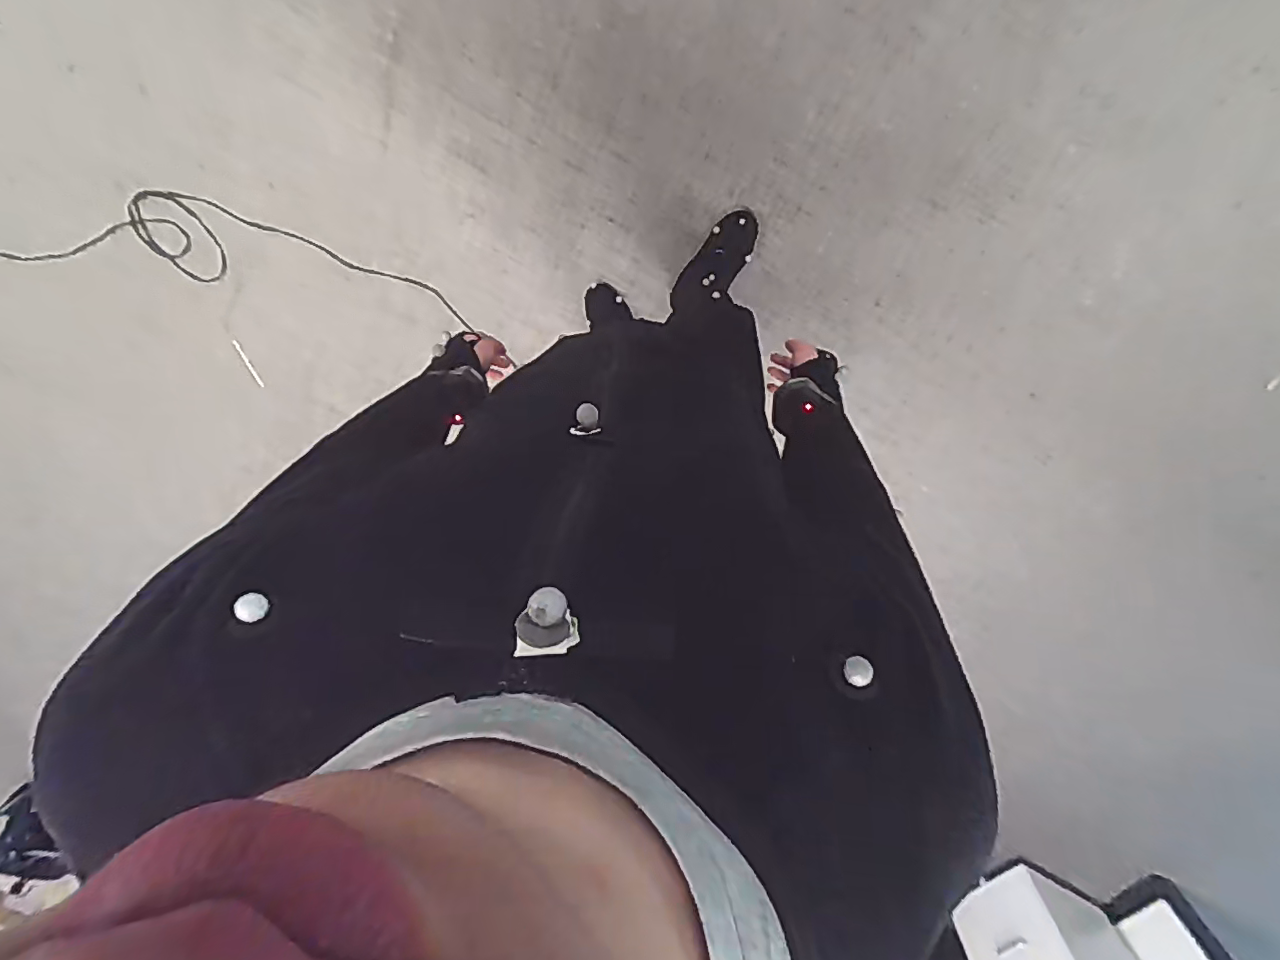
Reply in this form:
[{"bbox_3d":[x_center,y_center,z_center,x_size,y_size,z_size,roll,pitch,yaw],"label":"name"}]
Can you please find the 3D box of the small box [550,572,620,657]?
[{"bbox_3d":[-0.175,0.437,1.780,0.168,0.176,0.179,30,113,-11],"label":"small box"}]
